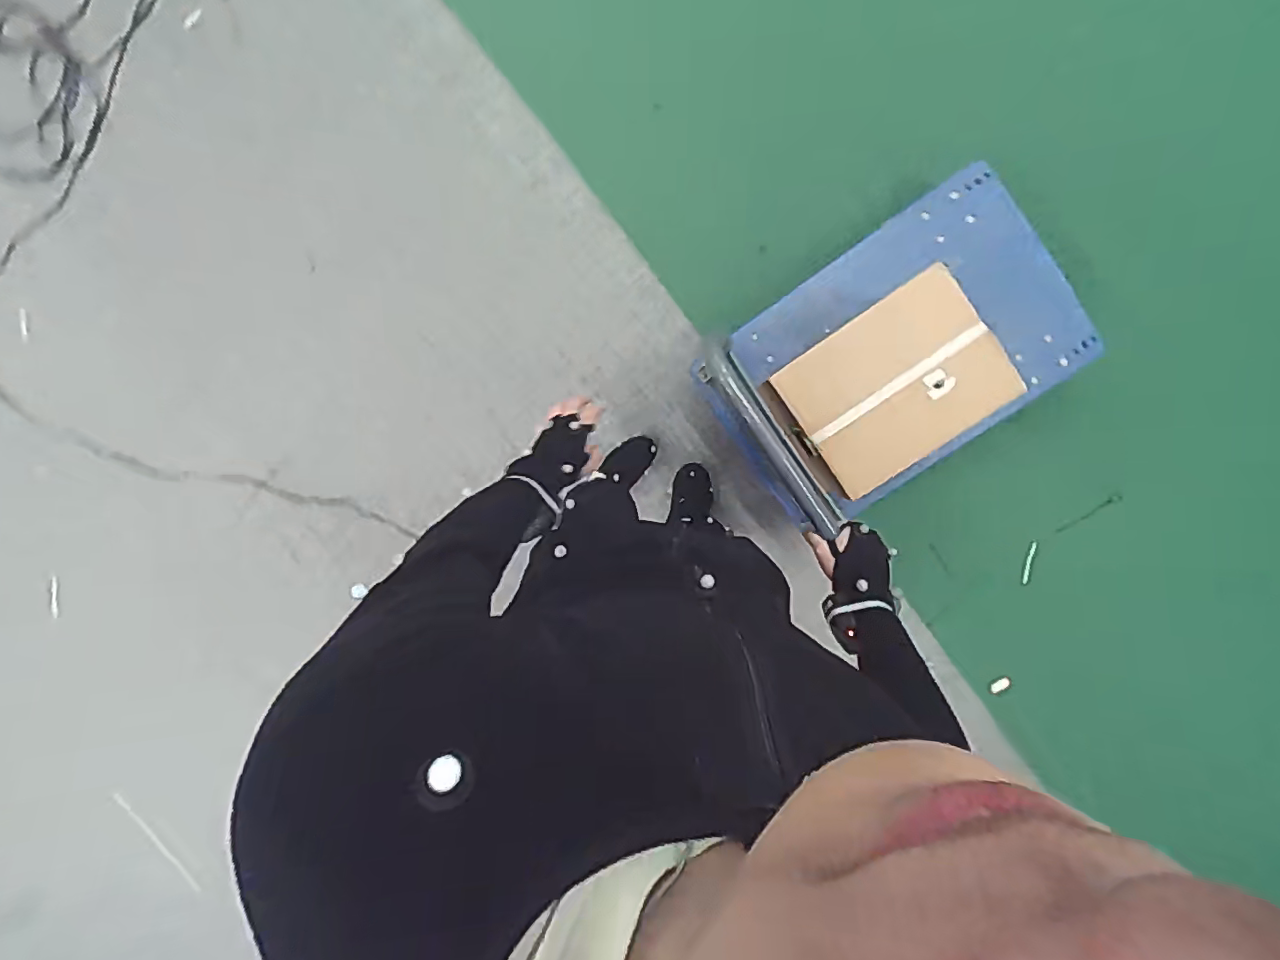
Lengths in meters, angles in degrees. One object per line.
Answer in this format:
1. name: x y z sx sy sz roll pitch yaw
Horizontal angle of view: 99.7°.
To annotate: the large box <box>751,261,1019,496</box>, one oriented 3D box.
1. large box: 0.518 -0.208 1.236 0.408 0.320 0.320 -34 92 6
